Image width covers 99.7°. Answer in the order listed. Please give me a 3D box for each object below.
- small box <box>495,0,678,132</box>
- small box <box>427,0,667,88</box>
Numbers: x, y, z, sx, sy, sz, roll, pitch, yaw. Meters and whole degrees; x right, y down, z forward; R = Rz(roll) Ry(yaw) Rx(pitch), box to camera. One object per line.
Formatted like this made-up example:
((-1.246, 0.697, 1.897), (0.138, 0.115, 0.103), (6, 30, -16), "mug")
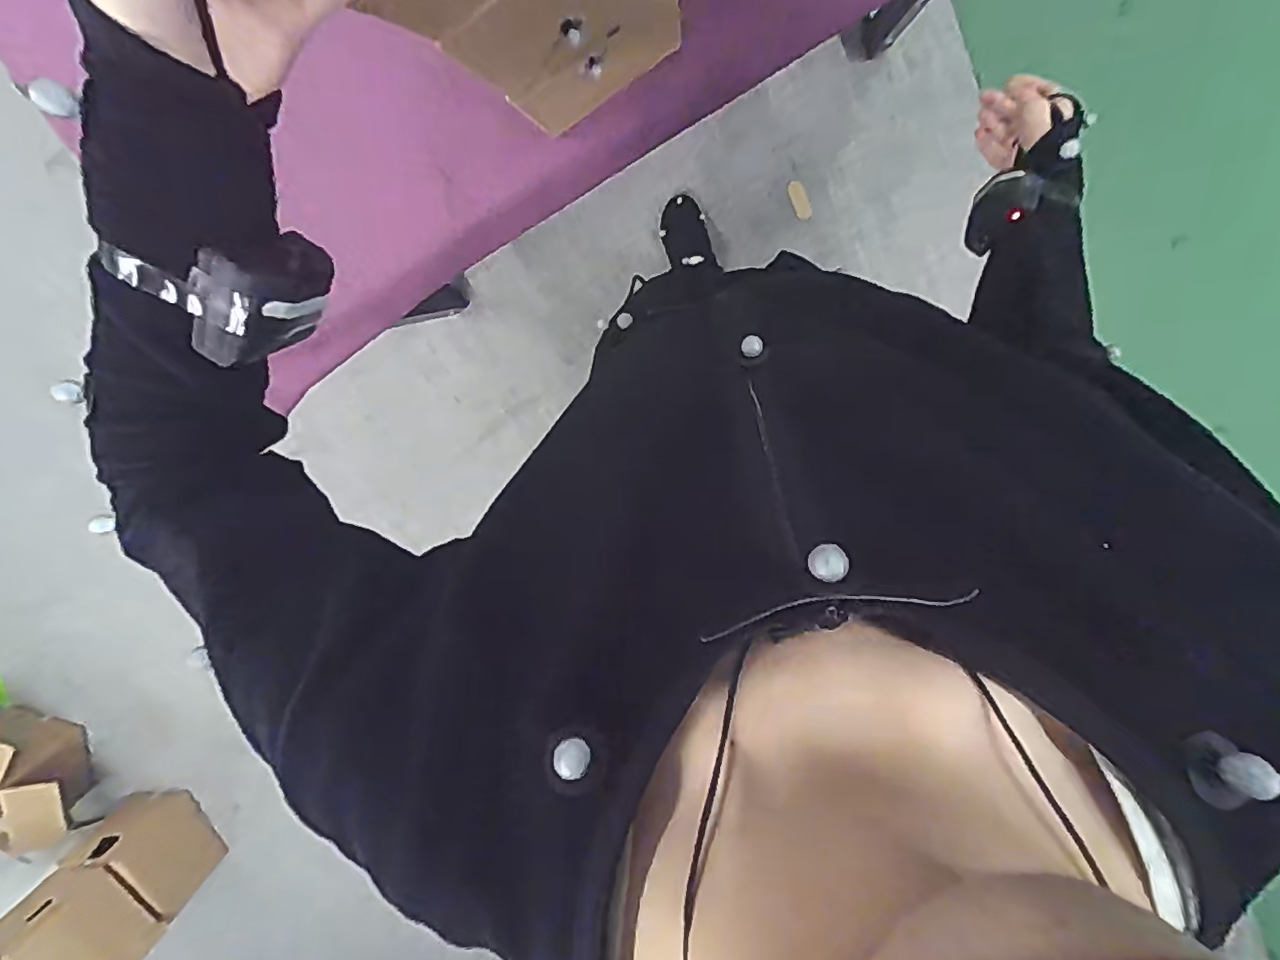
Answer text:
((-0.075, -0.478, 0.525), (0.179, 0.176, 0.168), (-25, 108, 16), "small box")
((-0.085, -0.412, 0.375), (0.168, 0.176, 0.179), (-22, 109, 16), "small box")
